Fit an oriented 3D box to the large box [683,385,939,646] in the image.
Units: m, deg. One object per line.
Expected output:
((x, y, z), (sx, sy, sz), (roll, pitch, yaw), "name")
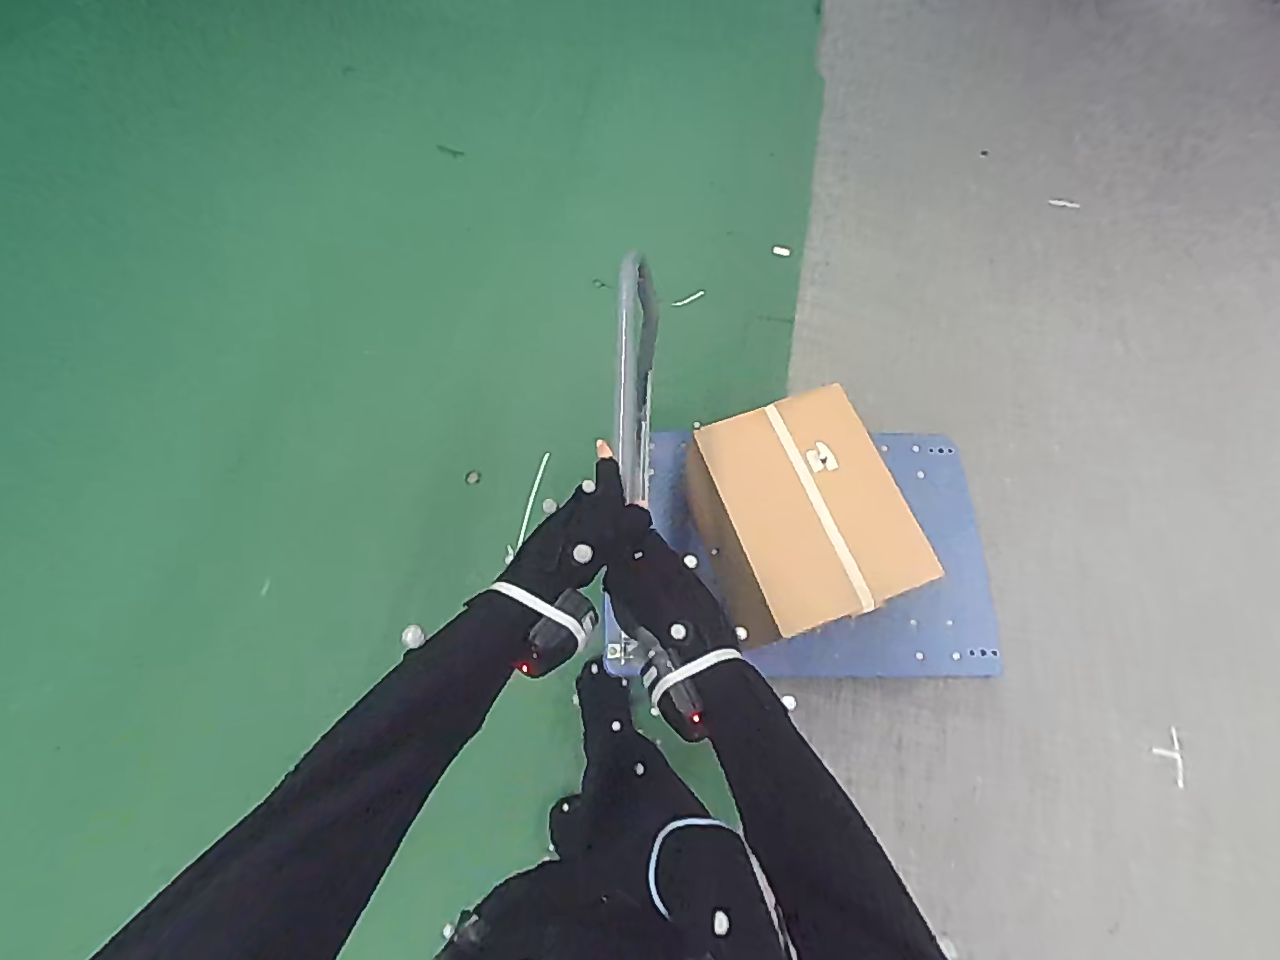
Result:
((0.307, 0.087, 1.111), (0.320, 0.320, 0.408), (-18, 70, -8), "large box")
